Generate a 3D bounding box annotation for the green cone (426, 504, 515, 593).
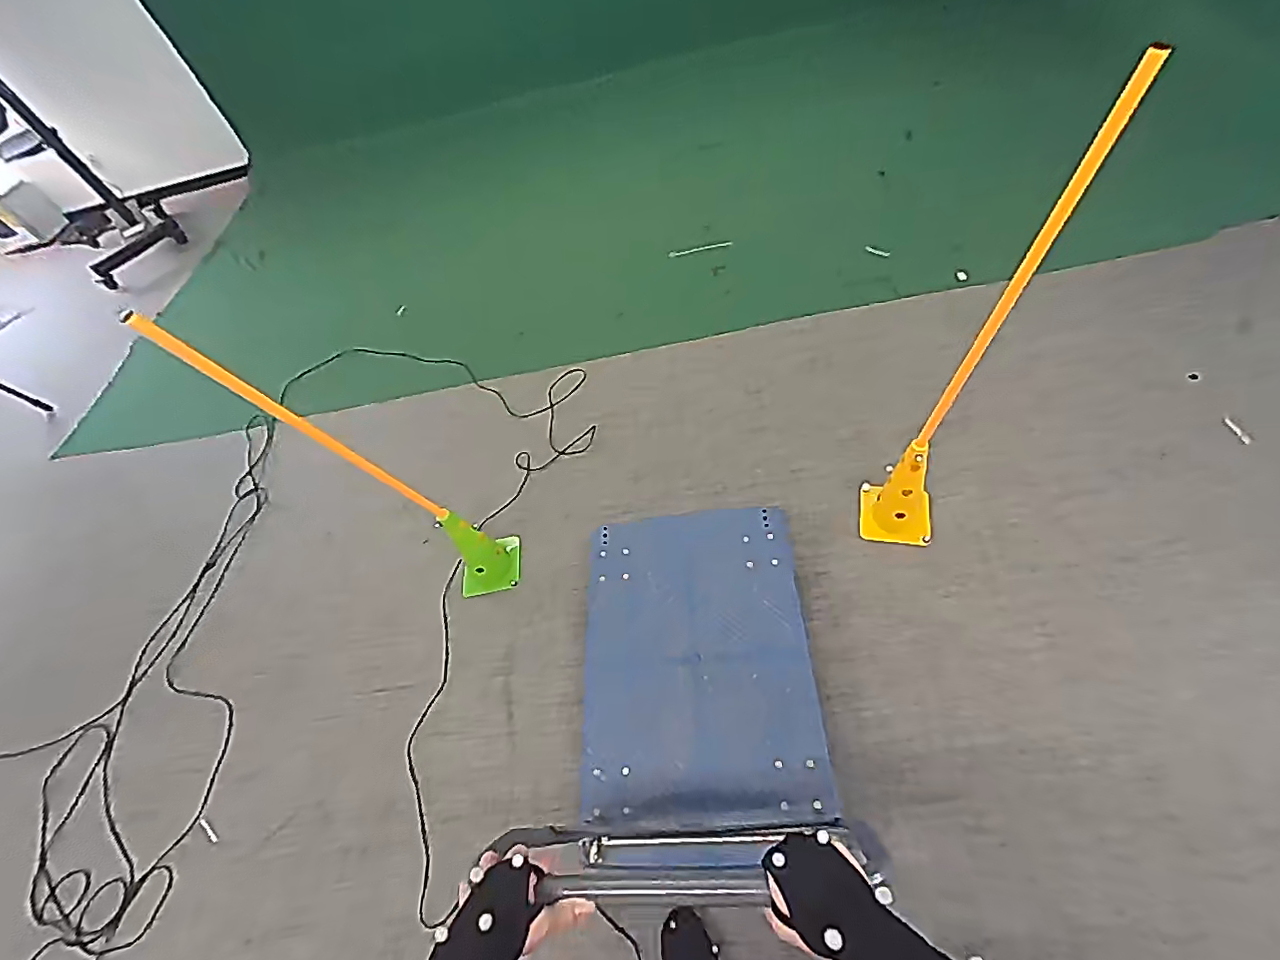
[{"bbox_3d":[-0.560,0.182,1.712,0.202,0.368,0.200,-13,54,6],"label":"green cone"}]
